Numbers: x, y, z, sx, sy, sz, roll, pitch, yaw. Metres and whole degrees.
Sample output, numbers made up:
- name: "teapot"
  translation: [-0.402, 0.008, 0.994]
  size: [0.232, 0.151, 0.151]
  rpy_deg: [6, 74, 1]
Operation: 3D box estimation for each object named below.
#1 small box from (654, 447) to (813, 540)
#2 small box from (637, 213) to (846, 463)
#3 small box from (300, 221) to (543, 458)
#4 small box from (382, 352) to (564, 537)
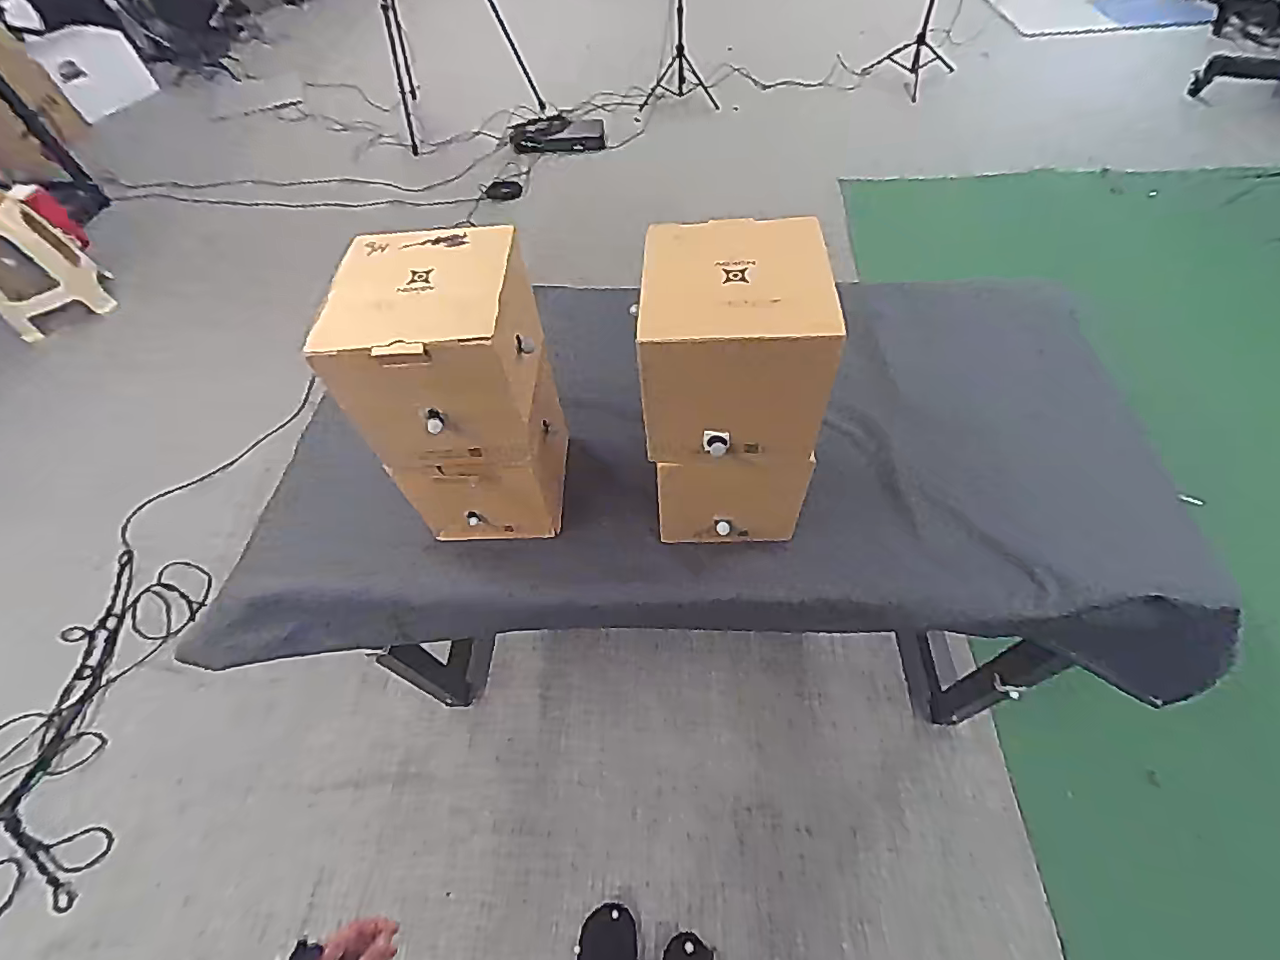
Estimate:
- name: "small box"
  translation: [0.102, -0.042, 0.666]
  size: [0.168, 0.176, 0.179]
  rpy_deg: [-1, 55, 4]
- name: "small box"
  translation: [0.088, -0.135, 0.534]
  size: [0.168, 0.176, 0.179]
  rpy_deg: [-1, 55, 6]
- name: "small box"
  translation: [-0.200, -0.134, 0.558]
  size: [0.168, 0.176, 0.179]
  rpy_deg: [-4, 56, 2]
- name: "small box"
  translation: [-0.195, -0.043, 0.694]
  size: [0.168, 0.176, 0.179]
  rpy_deg: [-2, 55, 2]
